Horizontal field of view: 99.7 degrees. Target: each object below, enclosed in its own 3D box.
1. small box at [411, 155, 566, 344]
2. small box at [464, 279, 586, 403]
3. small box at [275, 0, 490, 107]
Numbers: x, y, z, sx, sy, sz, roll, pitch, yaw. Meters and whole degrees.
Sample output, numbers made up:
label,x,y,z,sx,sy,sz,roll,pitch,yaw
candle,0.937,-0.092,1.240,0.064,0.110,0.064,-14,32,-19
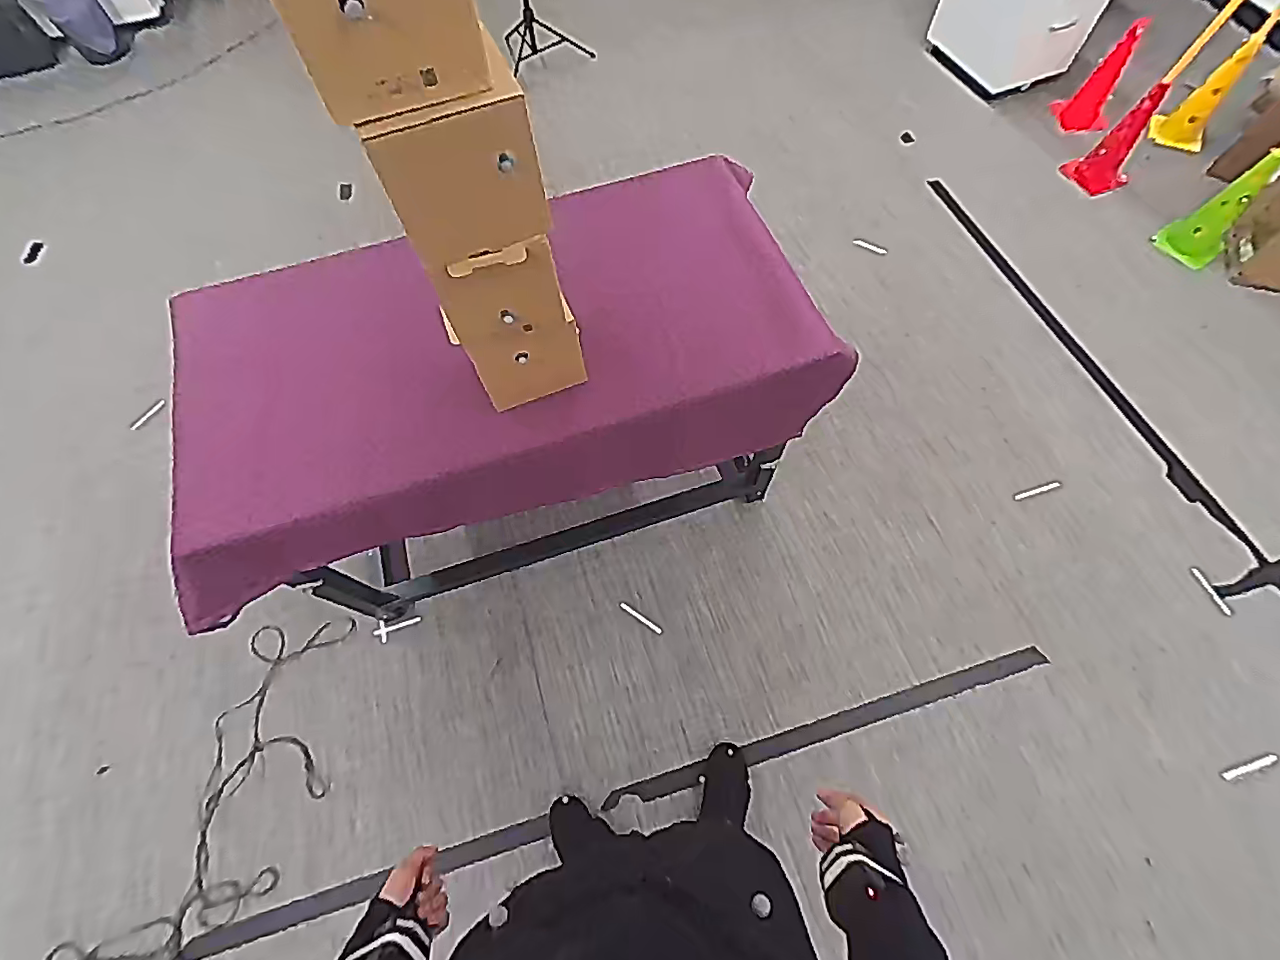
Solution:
label,x,y,z,sx,sy,sz,roll,pitch,yaw
small box,-0.217,-0.333,0.797,0.168,0.176,0.179,-16,65,-4
small box,-0.209,-0.260,0.944,0.179,0.176,0.168,-21,66,-8
small box,-0.257,-0.485,0.507,0.168,0.176,0.179,-21,65,-8
